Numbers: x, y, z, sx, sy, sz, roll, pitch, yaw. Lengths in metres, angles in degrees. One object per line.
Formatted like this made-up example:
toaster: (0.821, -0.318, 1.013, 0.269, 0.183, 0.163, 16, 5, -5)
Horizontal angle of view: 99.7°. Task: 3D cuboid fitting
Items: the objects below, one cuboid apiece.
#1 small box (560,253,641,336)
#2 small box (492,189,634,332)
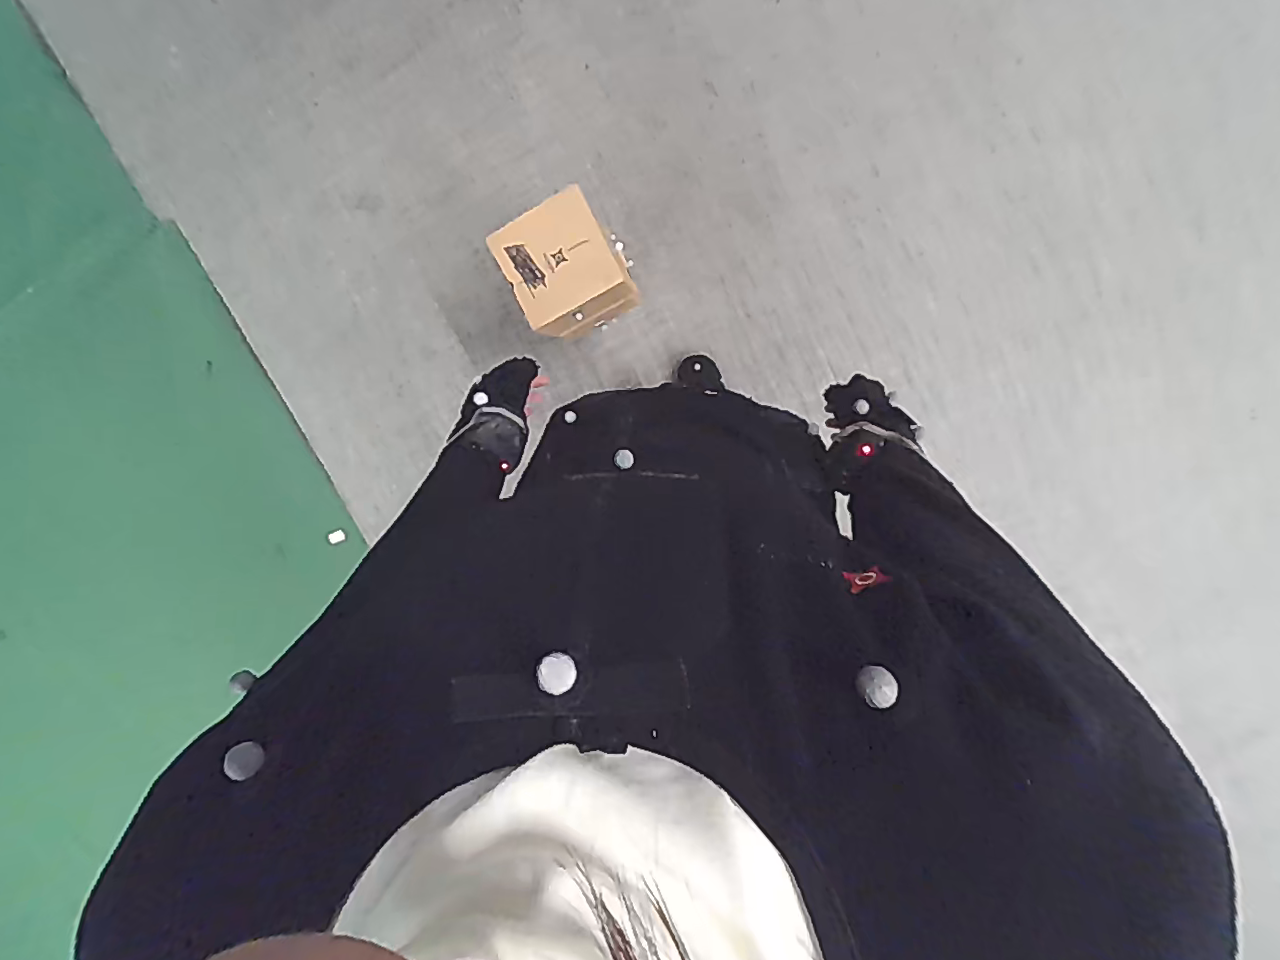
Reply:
small box: (-0.112, -0.409, 1.108, 0.168, 0.176, 0.179, -26, 100, 11)
small box: (-0.126, -0.376, 0.965, 0.179, 0.176, 0.168, -26, 100, 11)
